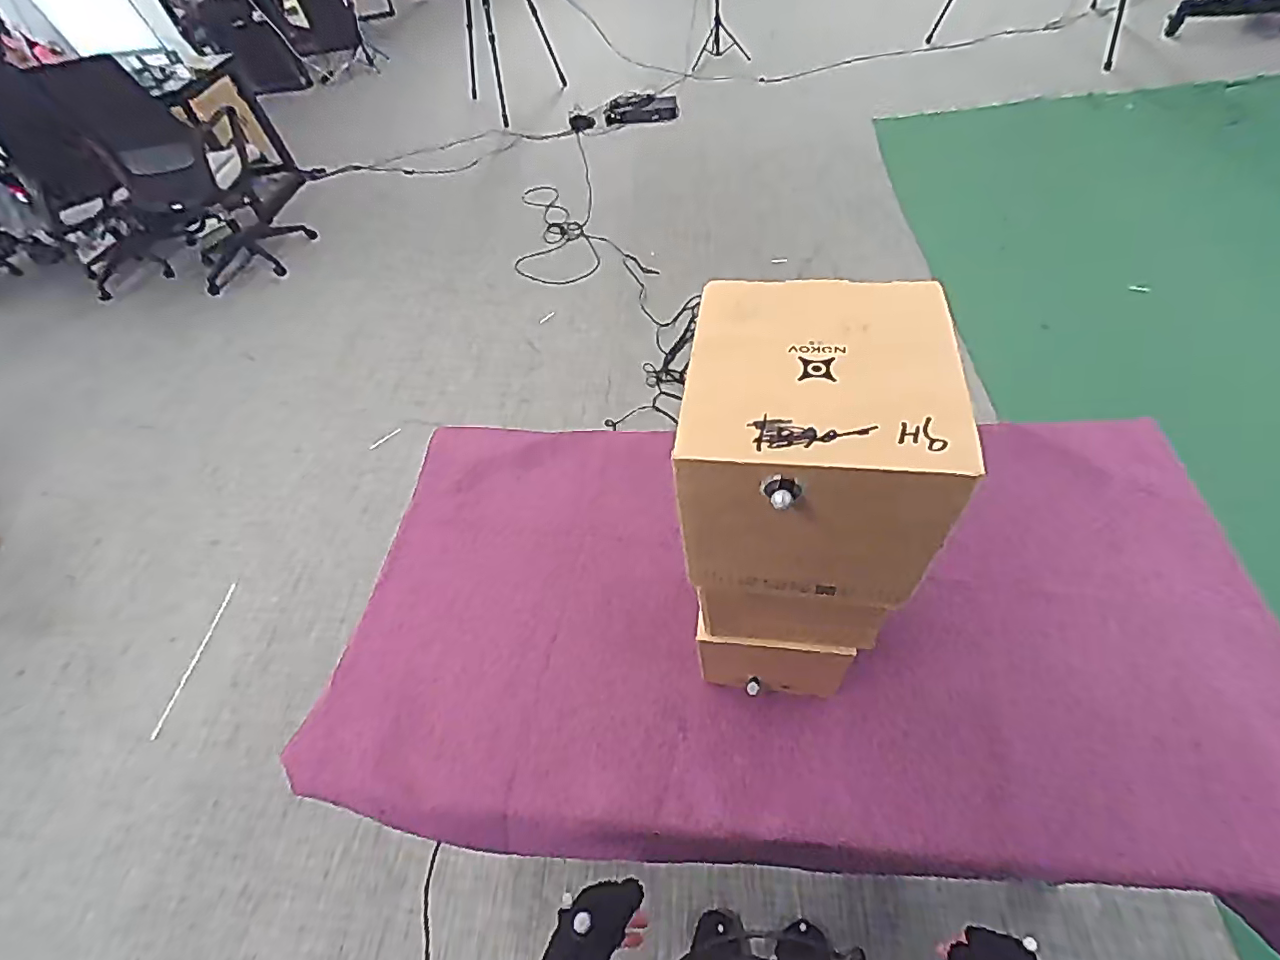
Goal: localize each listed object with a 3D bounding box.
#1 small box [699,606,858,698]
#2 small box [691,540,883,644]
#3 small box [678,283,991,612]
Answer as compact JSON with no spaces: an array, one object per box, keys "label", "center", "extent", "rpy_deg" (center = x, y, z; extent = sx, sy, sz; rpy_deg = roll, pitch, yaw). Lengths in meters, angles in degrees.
[{"label":"small box","center":[0.167,0.152,0.675],"extent":[0.168,0.176,0.179],"rpy_deg":[3,55,13]},{"label":"small box","center":[0.151,0.054,0.547],"extent":[0.179,0.176,0.168],"rpy_deg":[2,54,11]},{"label":"small box","center":[0.126,-0.025,0.403],"extent":[0.168,0.176,0.179],"rpy_deg":[4,53,13]}]
